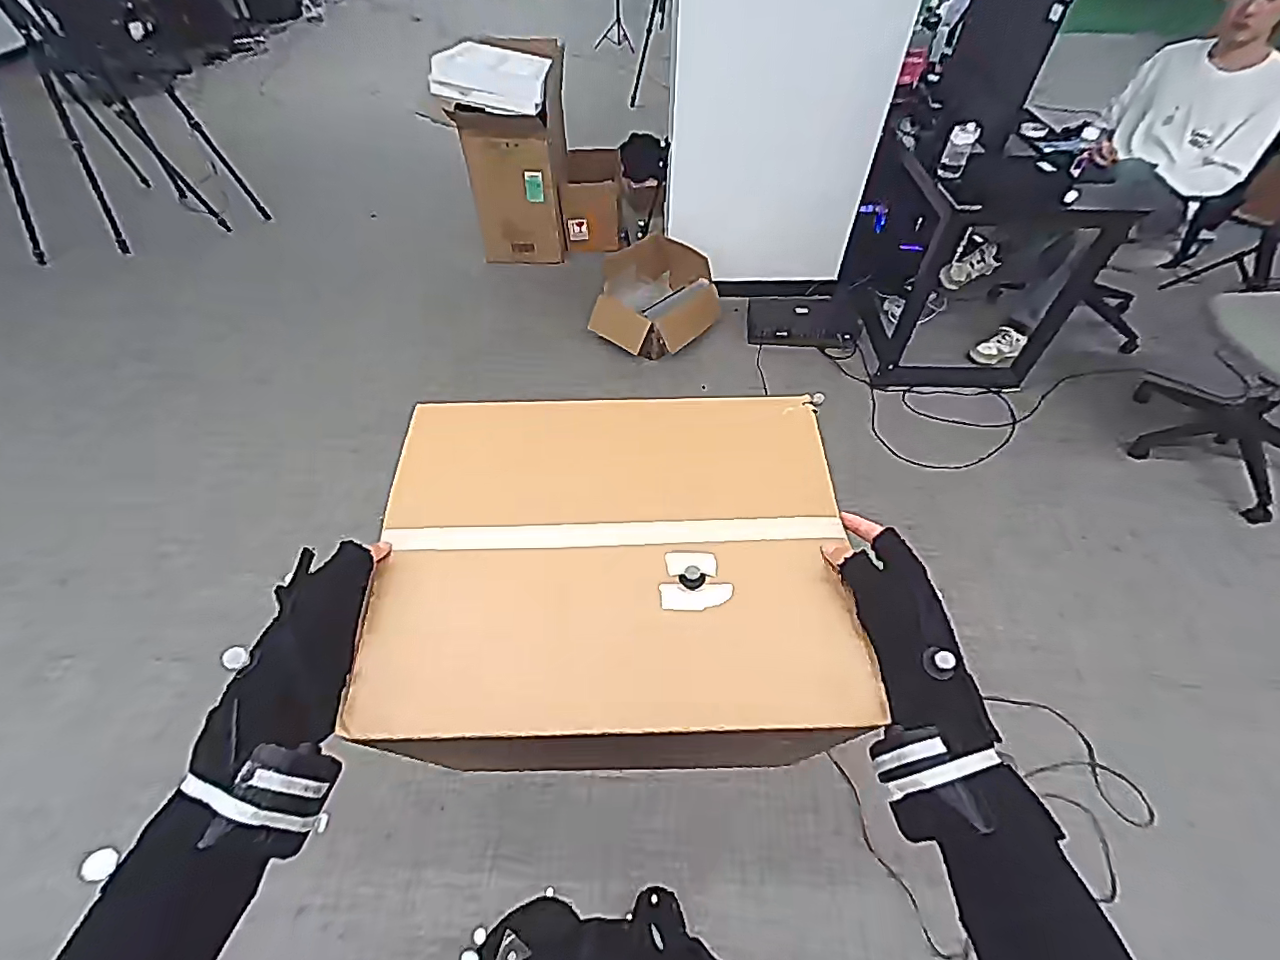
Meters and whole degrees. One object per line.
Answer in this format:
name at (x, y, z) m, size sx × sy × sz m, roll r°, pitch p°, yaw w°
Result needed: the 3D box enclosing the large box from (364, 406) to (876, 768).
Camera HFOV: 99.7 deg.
large box at (-0.019, 0.135, 0.617) m, size 0.408 × 0.320 × 0.320 m, roll -1°, pitch 58°, yaw -1°
